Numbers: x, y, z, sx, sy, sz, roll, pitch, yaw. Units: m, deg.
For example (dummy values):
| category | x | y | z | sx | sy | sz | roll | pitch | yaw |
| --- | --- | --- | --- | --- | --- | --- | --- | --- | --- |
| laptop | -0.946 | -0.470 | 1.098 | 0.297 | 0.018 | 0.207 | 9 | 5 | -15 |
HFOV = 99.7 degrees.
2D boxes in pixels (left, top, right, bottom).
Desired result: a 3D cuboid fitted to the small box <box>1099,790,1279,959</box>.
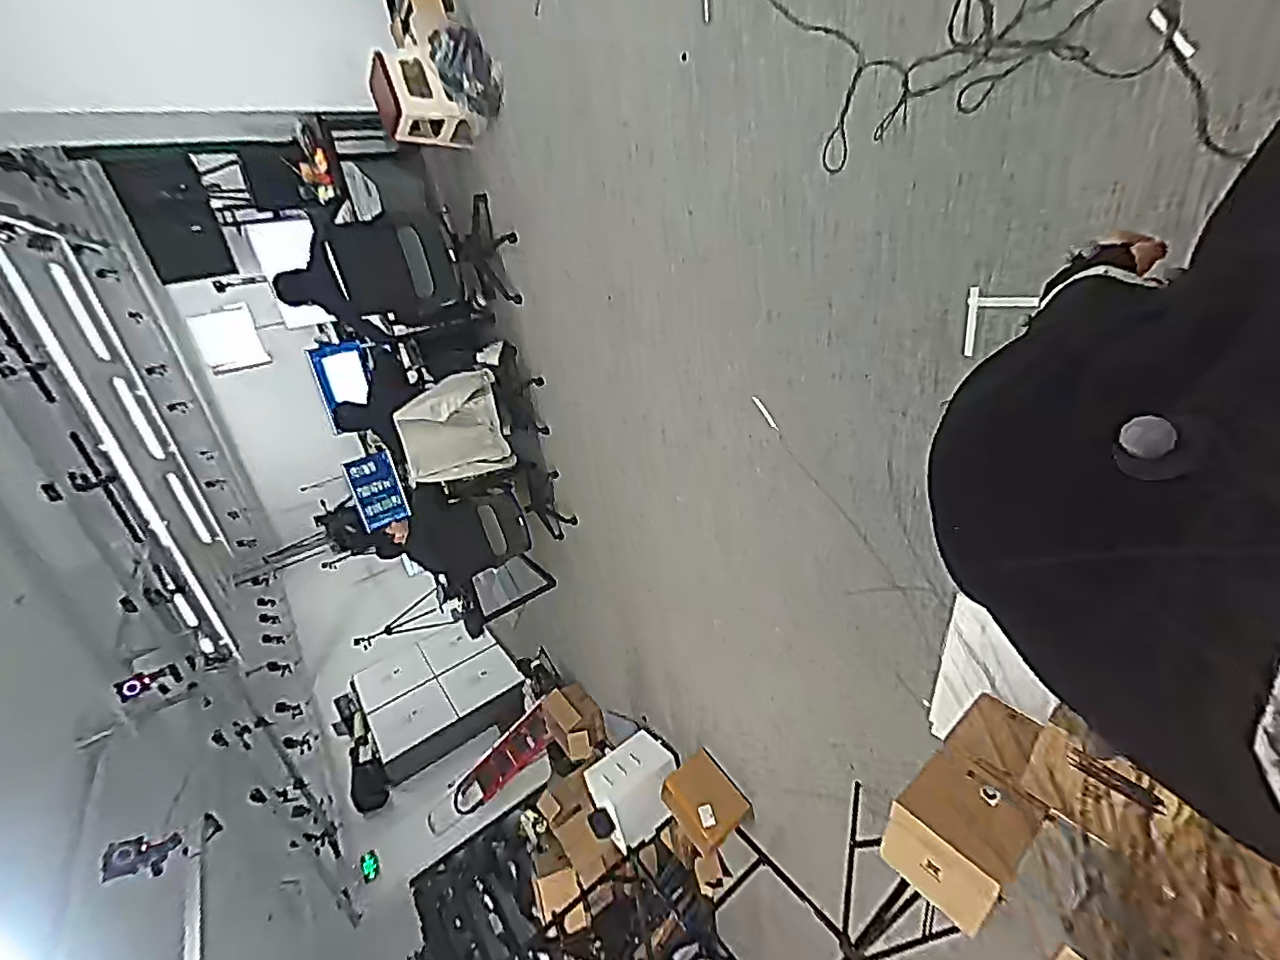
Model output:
| category | x | y | z | sx | sy | sz | roll | pitch | yaw |
| --- | --- | --- | --- | --- | --- | --- | --- | --- | --- |
| small box | 0.818 | 0.617 | 0.813 | 0.168 | 0.176 | 0.179 | 33 | 137 | 45 |

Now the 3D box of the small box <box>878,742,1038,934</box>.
| category | x | y | z | sx | sy | sz | roll | pitch | yaw |
| --- | --- | --- | --- | --- | --- | --- | --- | --- | --- |
| small box | 0.535 | 0.594 | 0.915 | 0.168 | 0.176 | 0.179 | 29 | 132 | 45 |

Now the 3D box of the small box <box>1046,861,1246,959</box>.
| category | x | y | z | sx | sy | sz | roll | pitch | yaw |
| --- | --- | --- | --- | --- | --- | --- | --- | --- | --- |
| small box | 0.685 | 0.680 | 0.741 | 0.168 | 0.176 | 0.179 | 31 | 135 | 45 |
